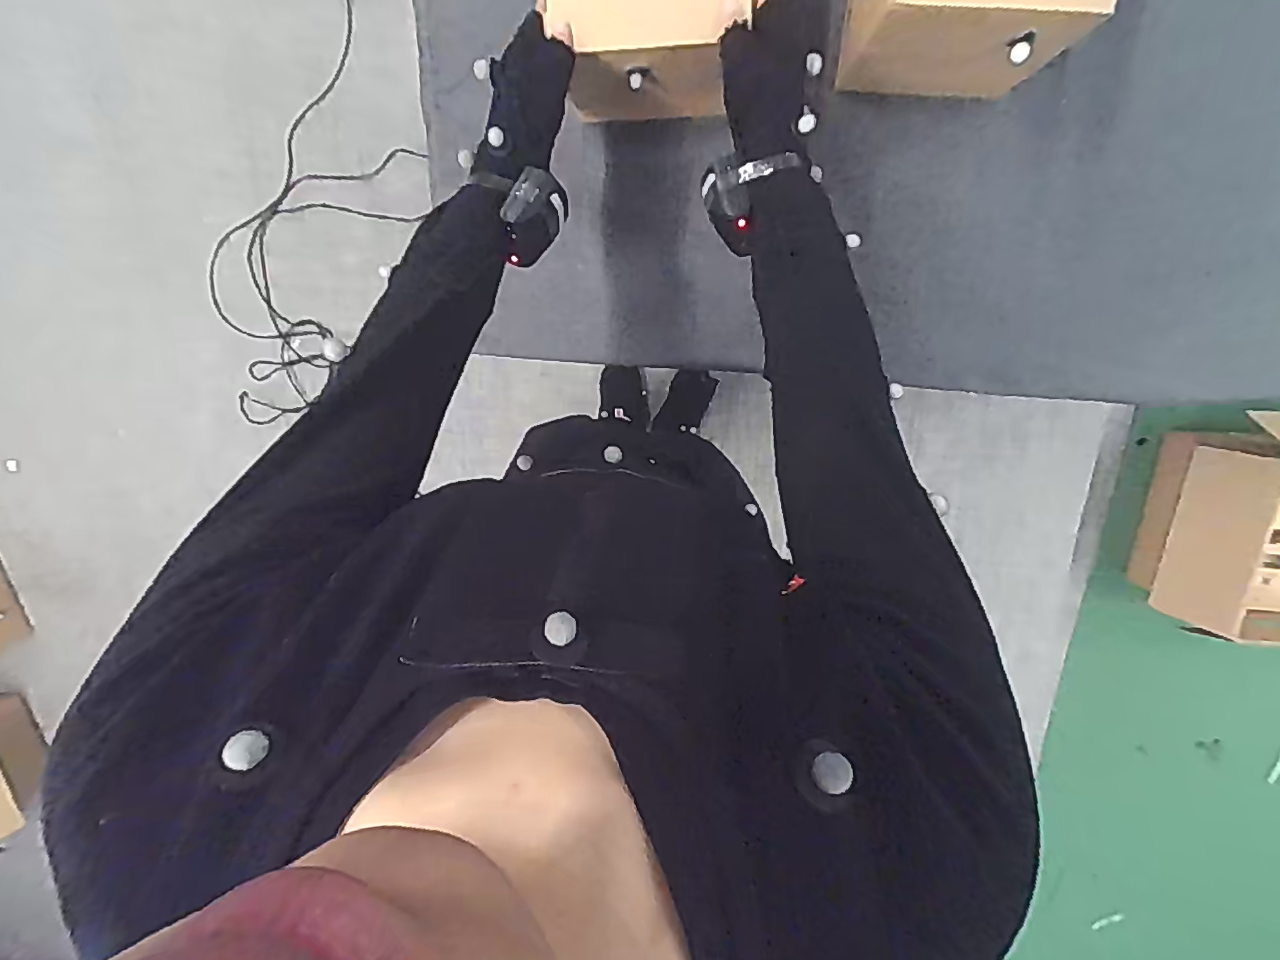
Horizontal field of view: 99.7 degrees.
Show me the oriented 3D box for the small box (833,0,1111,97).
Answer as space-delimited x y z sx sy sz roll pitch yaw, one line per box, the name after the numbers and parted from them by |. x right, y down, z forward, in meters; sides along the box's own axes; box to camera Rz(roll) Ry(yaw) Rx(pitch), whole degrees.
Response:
0.294 -0.470 0.483 0.179 0.176 0.168 5 106 3 | small box

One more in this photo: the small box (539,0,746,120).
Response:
0.007 -0.463 0.512 0.179 0.176 0.168 0 107 4 | small box
